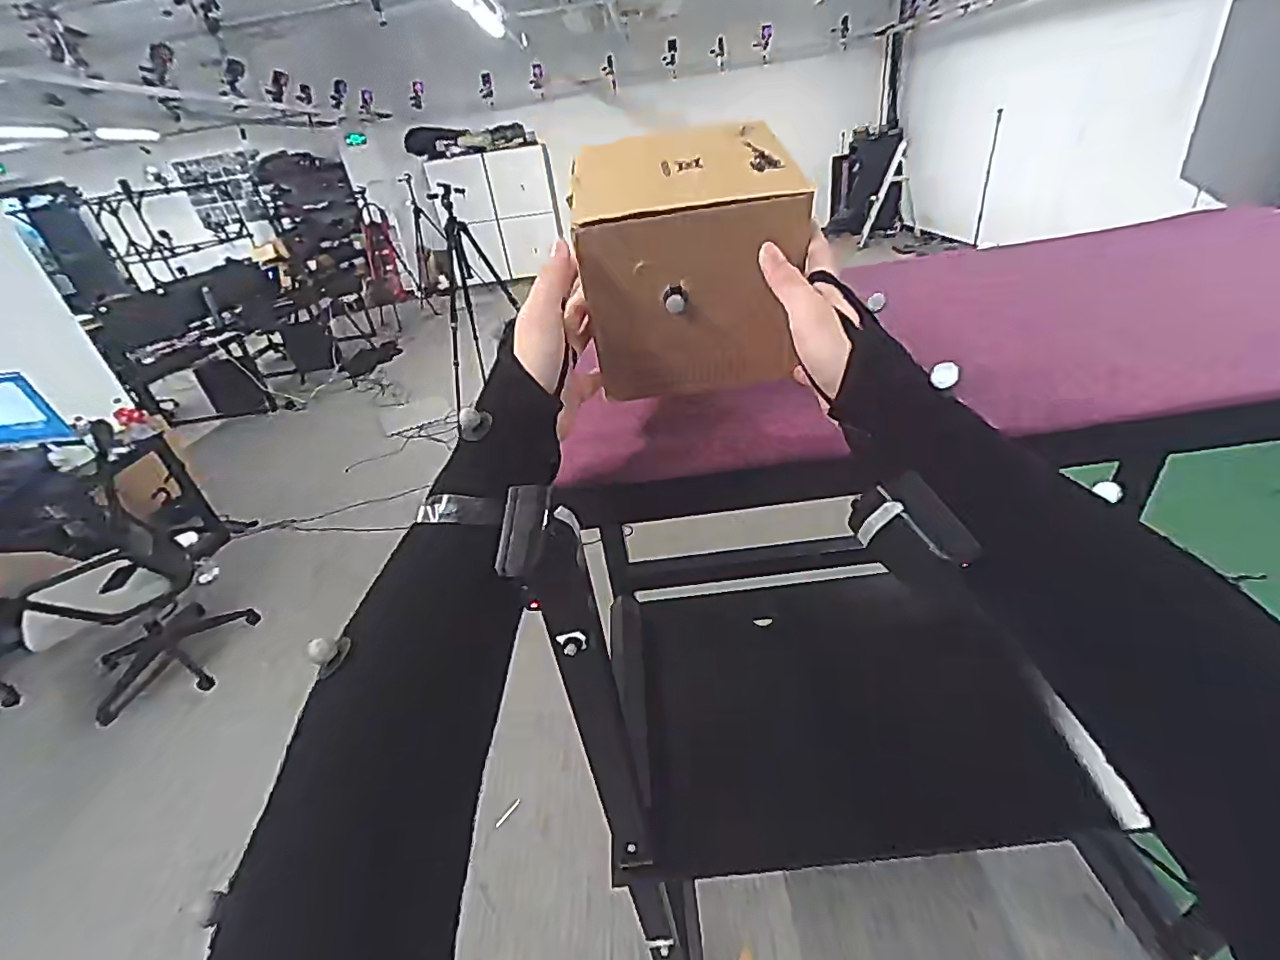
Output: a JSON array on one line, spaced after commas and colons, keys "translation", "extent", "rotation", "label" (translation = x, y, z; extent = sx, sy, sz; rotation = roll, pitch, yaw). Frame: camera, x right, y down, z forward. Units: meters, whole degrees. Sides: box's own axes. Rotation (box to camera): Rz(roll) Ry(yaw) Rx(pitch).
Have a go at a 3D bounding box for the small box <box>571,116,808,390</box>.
[{"translation": [0.042, -0.201, 0.498], "extent": [0.179, 0.176, 0.168], "rotation": [-8, 49, 3], "label": "small box"}]
